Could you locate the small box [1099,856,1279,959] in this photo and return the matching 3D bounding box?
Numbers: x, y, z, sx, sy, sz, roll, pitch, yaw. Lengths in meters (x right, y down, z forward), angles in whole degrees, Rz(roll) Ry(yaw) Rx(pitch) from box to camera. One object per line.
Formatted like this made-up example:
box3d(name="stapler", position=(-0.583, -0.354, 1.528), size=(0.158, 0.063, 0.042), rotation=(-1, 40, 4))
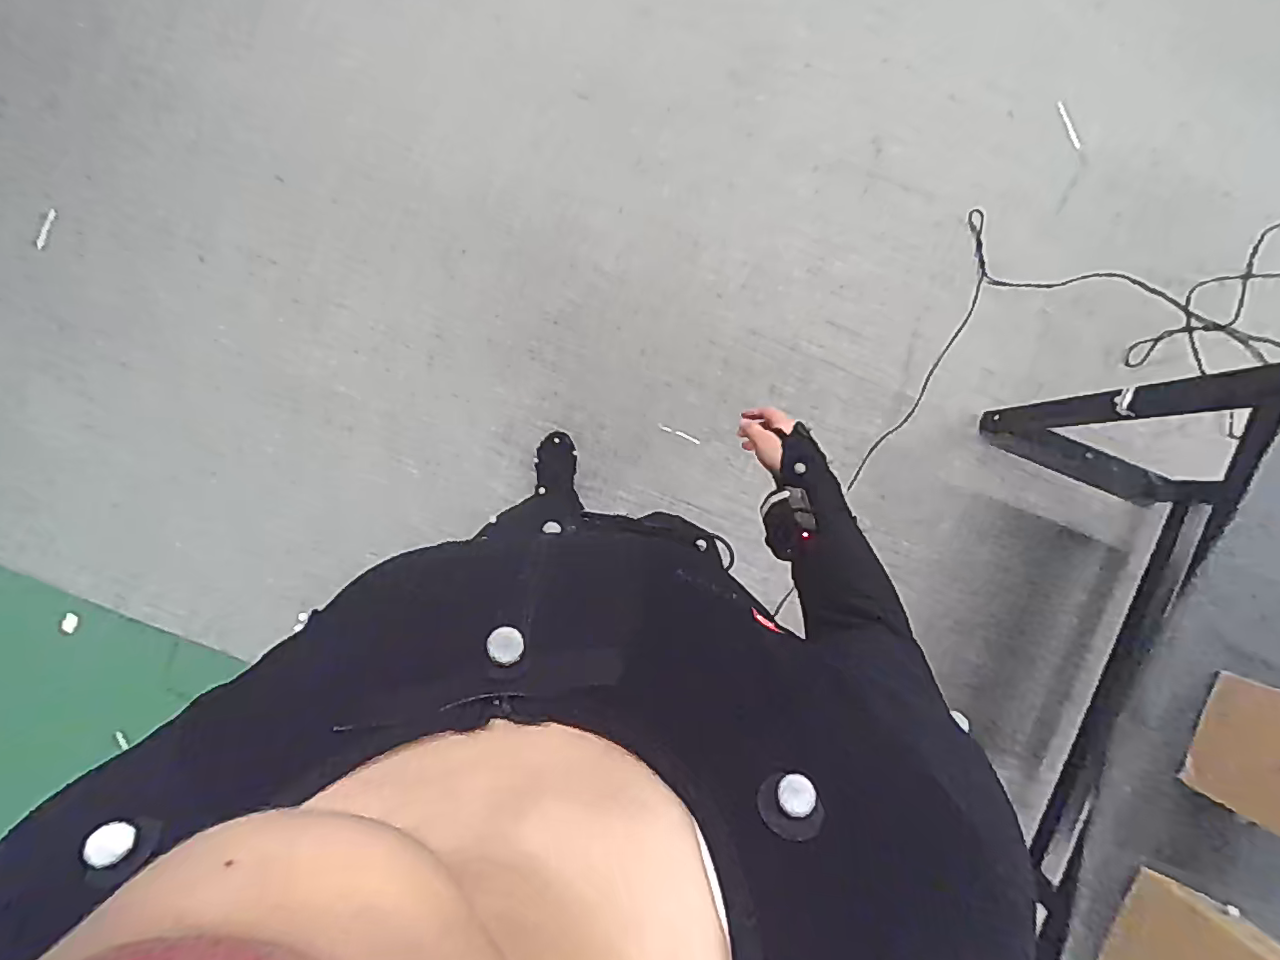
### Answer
box3d(name="small box", position=(0.774, 0.662, 0.719), size=(0.168, 0.176, 0.179), rotation=(27, 88, -5))
